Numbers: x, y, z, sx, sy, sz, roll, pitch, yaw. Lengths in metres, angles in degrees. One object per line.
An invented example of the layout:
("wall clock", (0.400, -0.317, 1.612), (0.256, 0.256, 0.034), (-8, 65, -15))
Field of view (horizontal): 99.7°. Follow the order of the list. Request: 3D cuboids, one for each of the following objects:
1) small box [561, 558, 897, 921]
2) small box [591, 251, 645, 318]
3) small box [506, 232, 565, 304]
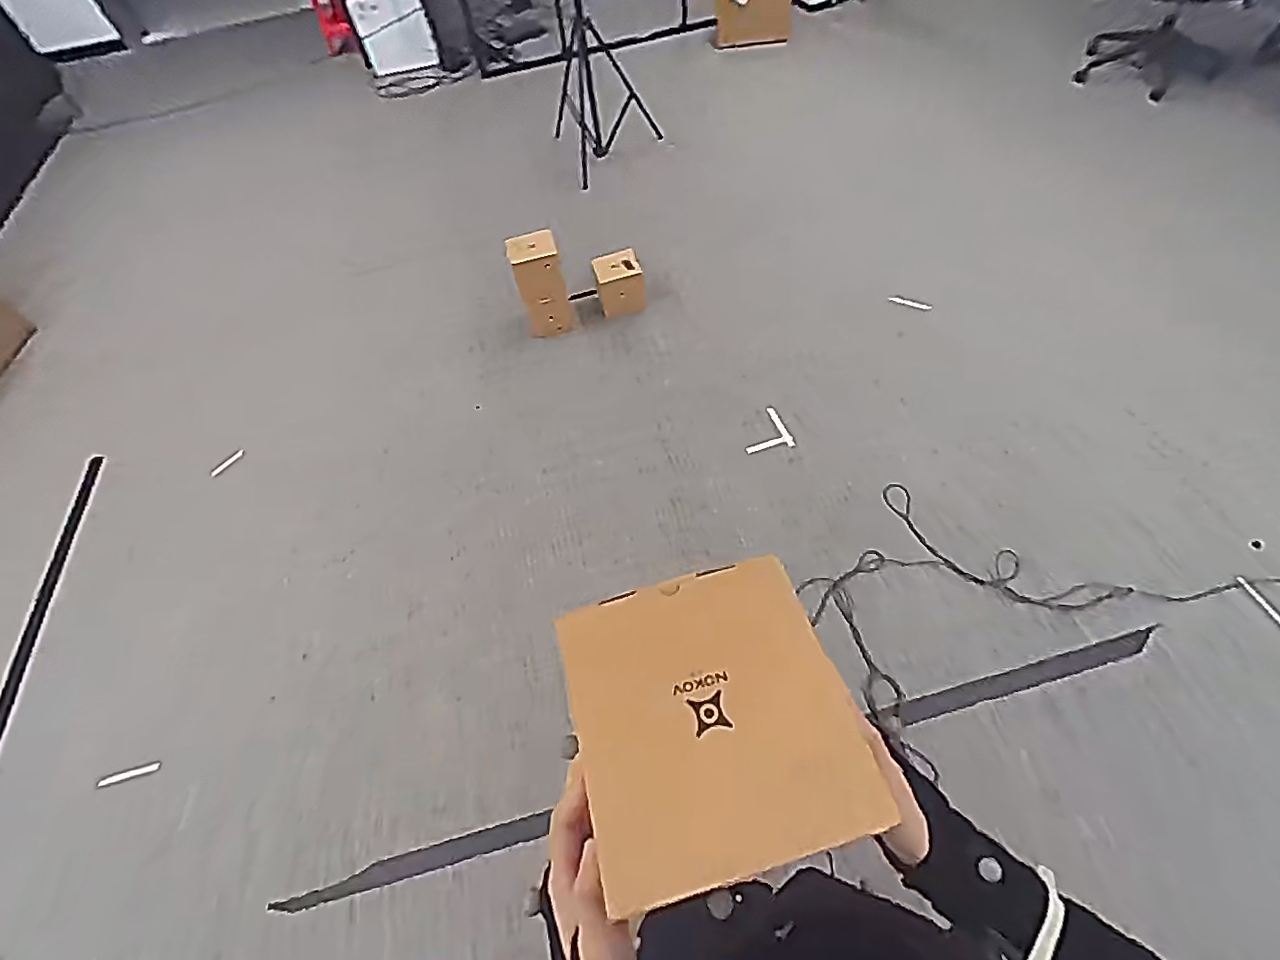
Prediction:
("small box", (0.049, 0.189, 0.397), (0.168, 0.176, 0.179), (-14, 52, -5))
("small box", (-0.084, -0.782, 2.173), (0.179, 0.176, 0.168), (-17, 57, -3))
("small box", (-0.384, -0.790, 2.017), (0.179, 0.176, 0.168), (-16, 55, -3))
